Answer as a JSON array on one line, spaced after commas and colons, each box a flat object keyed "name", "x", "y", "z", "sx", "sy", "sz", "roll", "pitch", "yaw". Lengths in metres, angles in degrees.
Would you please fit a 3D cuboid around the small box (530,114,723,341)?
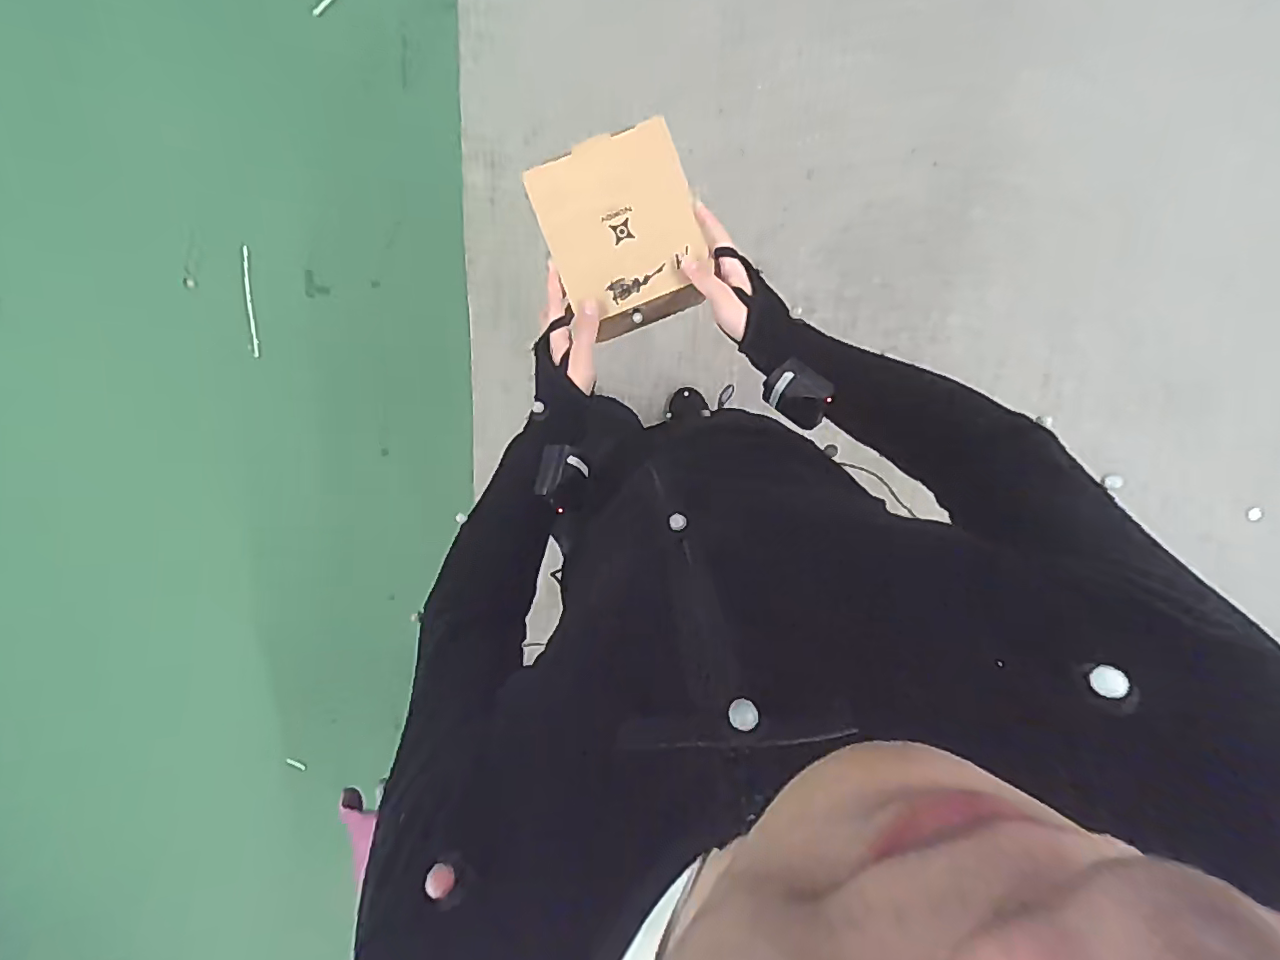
[{"name": "small box", "x": -0.013, "y": -0.284, "z": 0.652, "sx": 0.168, "sy": 0.176, "sz": 0.179, "roll": -19, "pitch": 97, "yaw": 4}]
